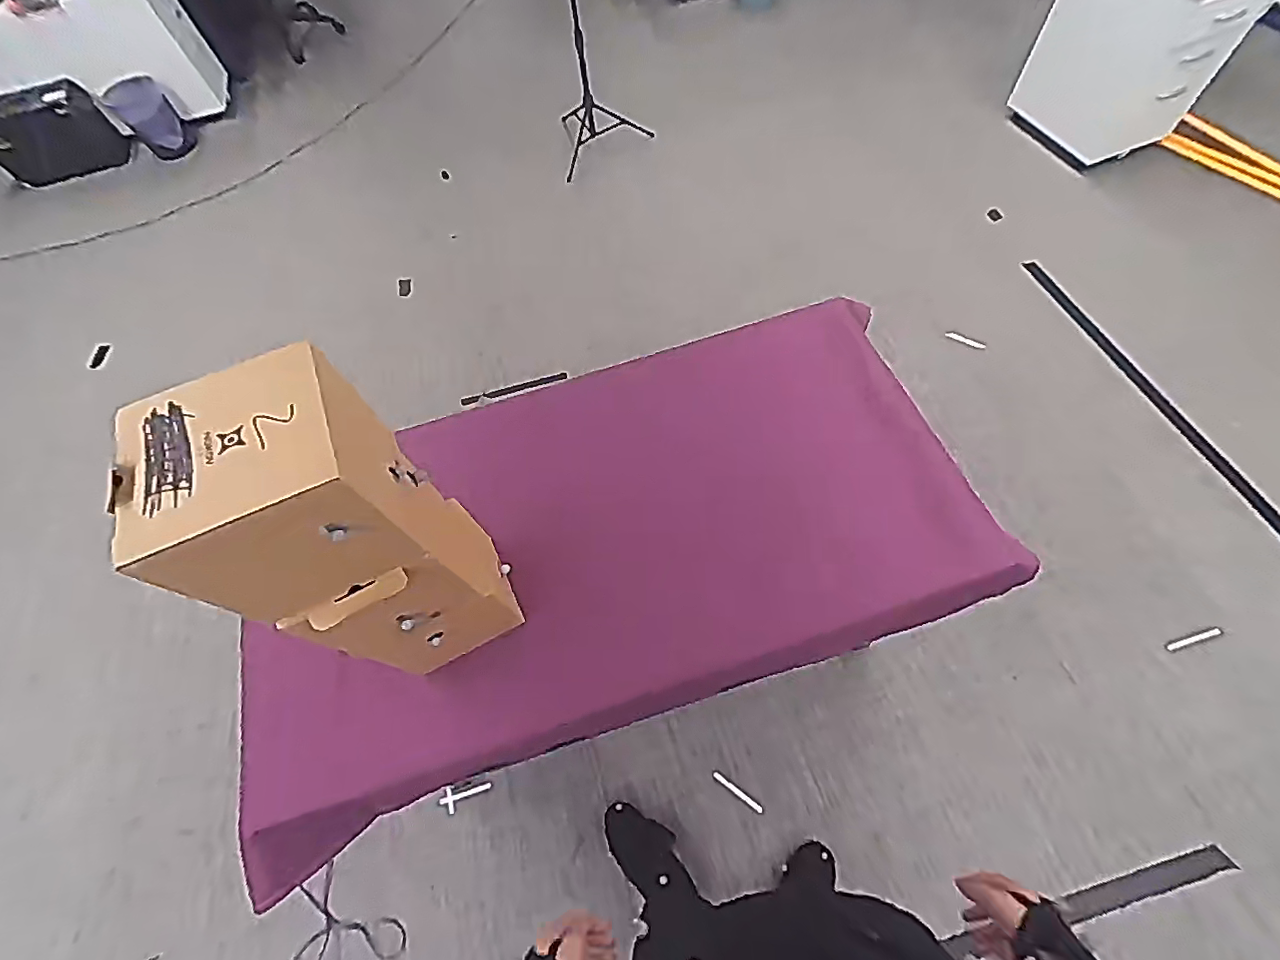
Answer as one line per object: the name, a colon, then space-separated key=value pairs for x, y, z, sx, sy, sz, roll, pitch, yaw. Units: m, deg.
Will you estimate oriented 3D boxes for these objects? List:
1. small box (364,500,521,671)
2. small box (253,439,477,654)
small box: x=-0.303 y=0.165 z=0.809 sx=0.179 sy=0.176 sz=0.168 roll=-26 pitch=64 yaw=-9
small box: x=-0.326 y=0.088 z=0.664 sx=0.168 sy=0.176 sz=0.179 roll=-28 pitch=64 yaw=-8
